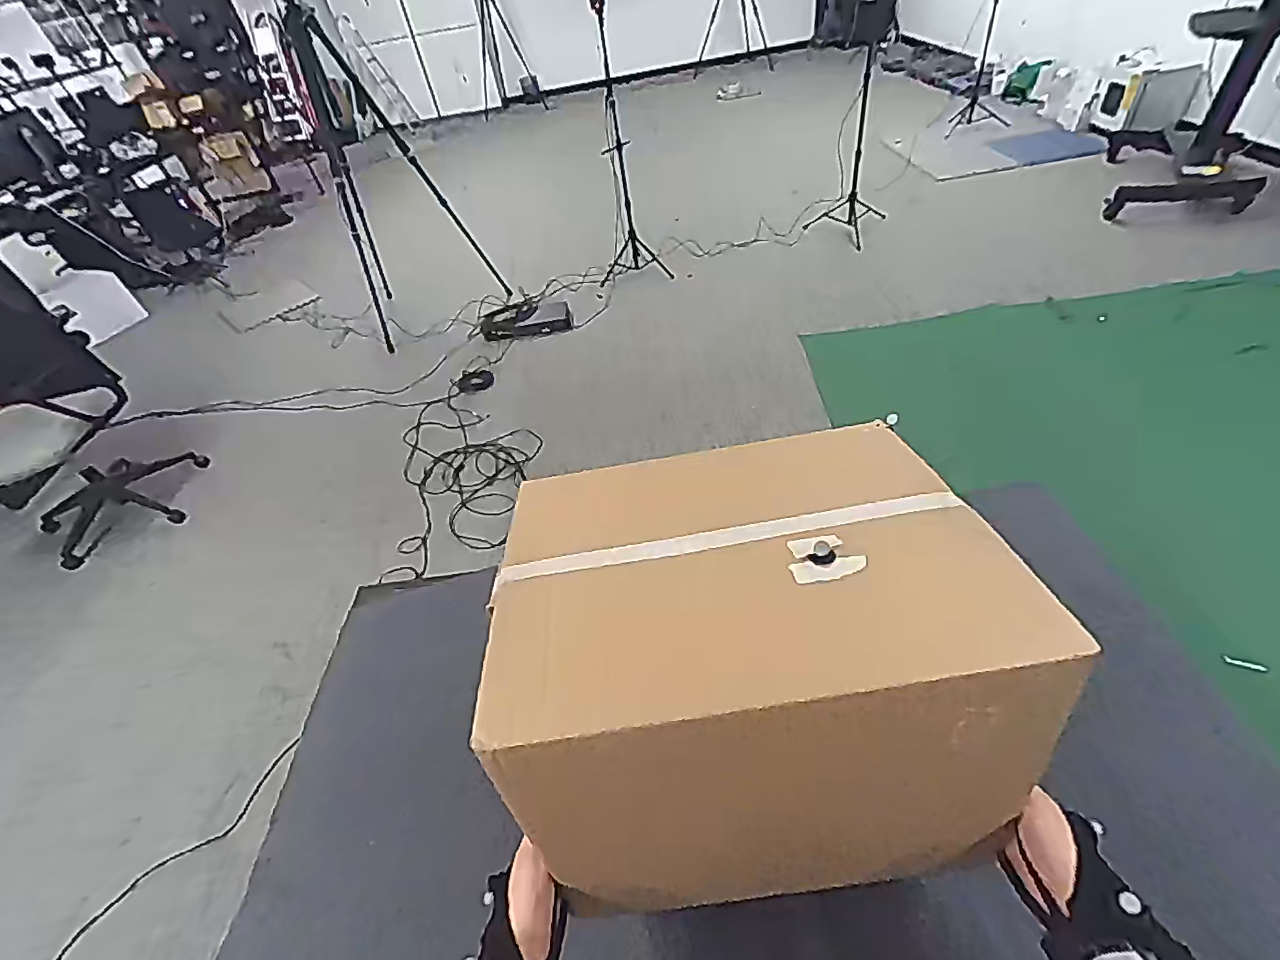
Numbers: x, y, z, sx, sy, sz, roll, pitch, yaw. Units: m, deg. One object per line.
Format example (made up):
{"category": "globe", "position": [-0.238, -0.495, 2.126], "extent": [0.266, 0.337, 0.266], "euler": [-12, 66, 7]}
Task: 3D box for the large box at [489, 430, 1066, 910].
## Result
{"category": "large box", "position": [0.099, 0.183, 0.565], "extent": [0.408, 0.320, 0.320], "euler": [-10, 35, 1]}
